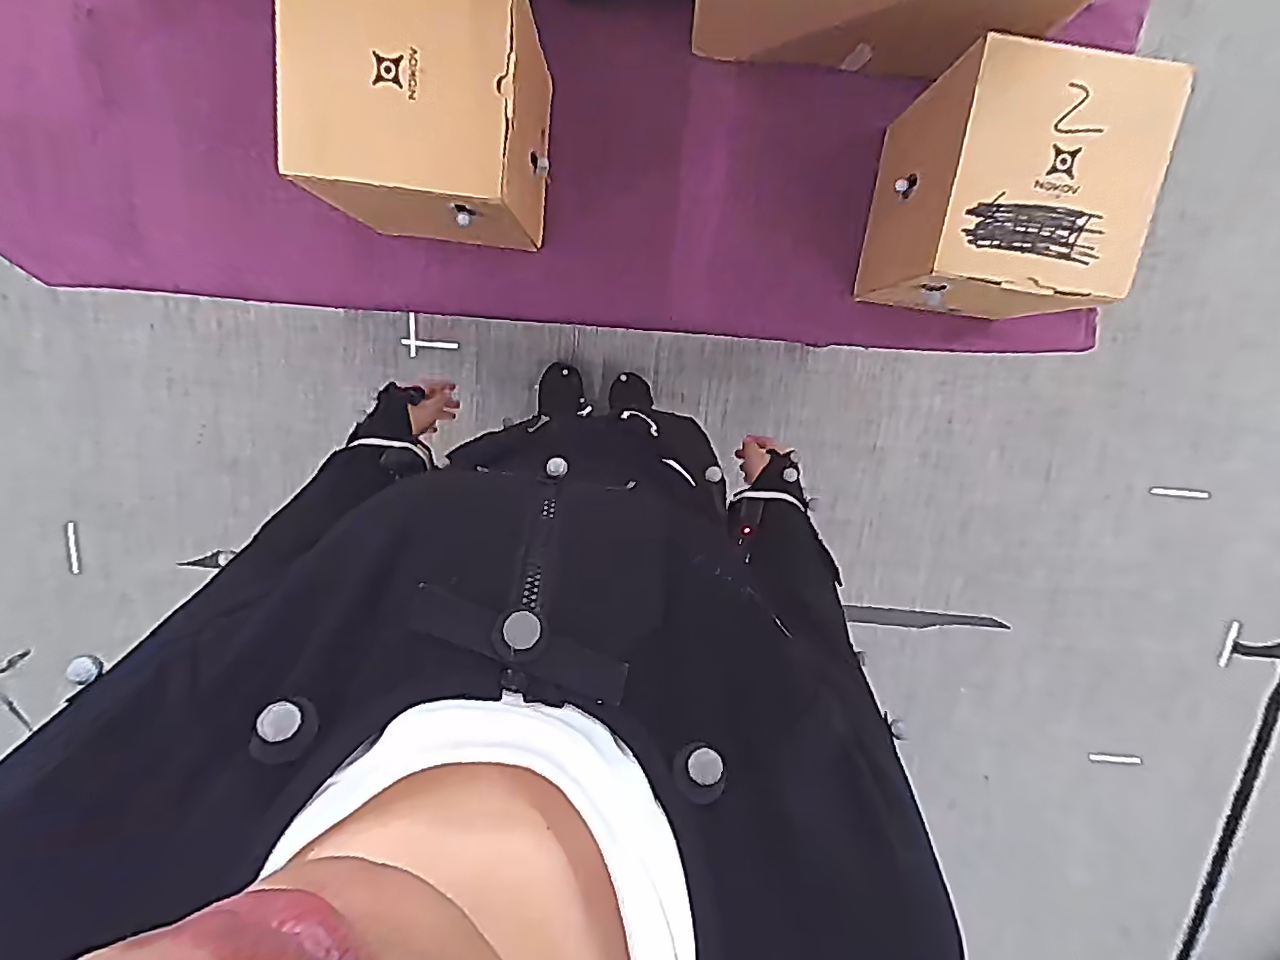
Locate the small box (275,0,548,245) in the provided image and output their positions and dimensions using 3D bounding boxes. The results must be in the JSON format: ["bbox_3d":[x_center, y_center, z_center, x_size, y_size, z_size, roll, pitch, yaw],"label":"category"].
[{"bbox_3d":[-0.187,-0.323,0.486,0.179,0.176,0.168,5,100,-3],"label":"small box"}]
